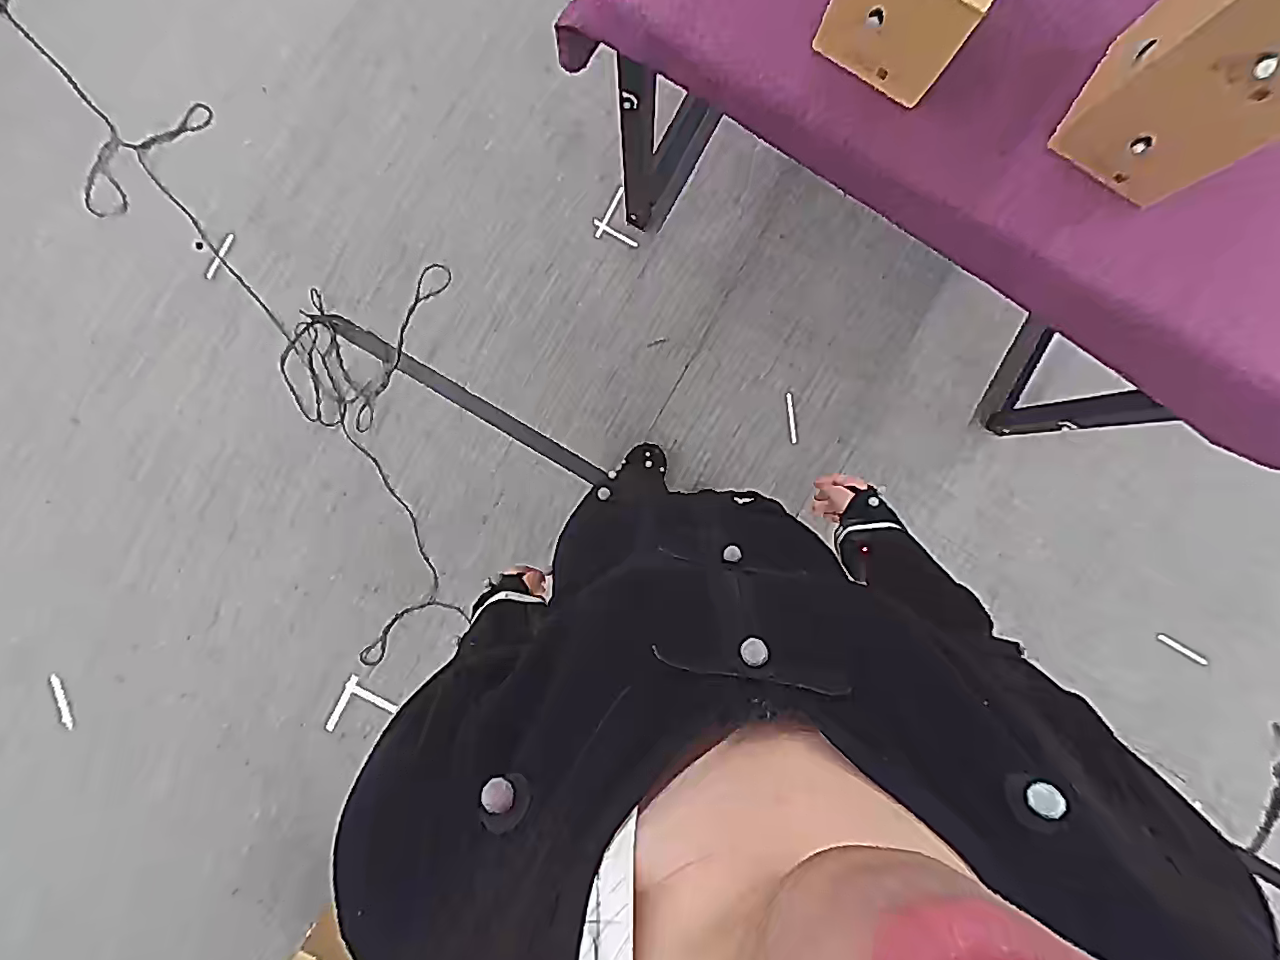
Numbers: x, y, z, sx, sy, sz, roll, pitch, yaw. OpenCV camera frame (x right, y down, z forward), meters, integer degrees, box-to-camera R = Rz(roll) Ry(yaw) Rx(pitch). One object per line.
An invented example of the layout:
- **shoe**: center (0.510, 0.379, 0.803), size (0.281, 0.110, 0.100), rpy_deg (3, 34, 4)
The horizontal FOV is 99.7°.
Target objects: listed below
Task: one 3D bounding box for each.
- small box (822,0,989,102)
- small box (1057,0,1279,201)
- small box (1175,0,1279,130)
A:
- **small box**: center (0.351, -0.629, 0.671), size (0.168, 0.176, 0.179), rpy_deg (31, 90, -1)
- **small box**: center (0.680, -0.494, 0.676), size (0.168, 0.176, 0.179), rpy_deg (33, 91, -1)
- **small box**: center (0.685, -0.492, 0.511), size (0.168, 0.176, 0.179), rpy_deg (33, 92, -1)
